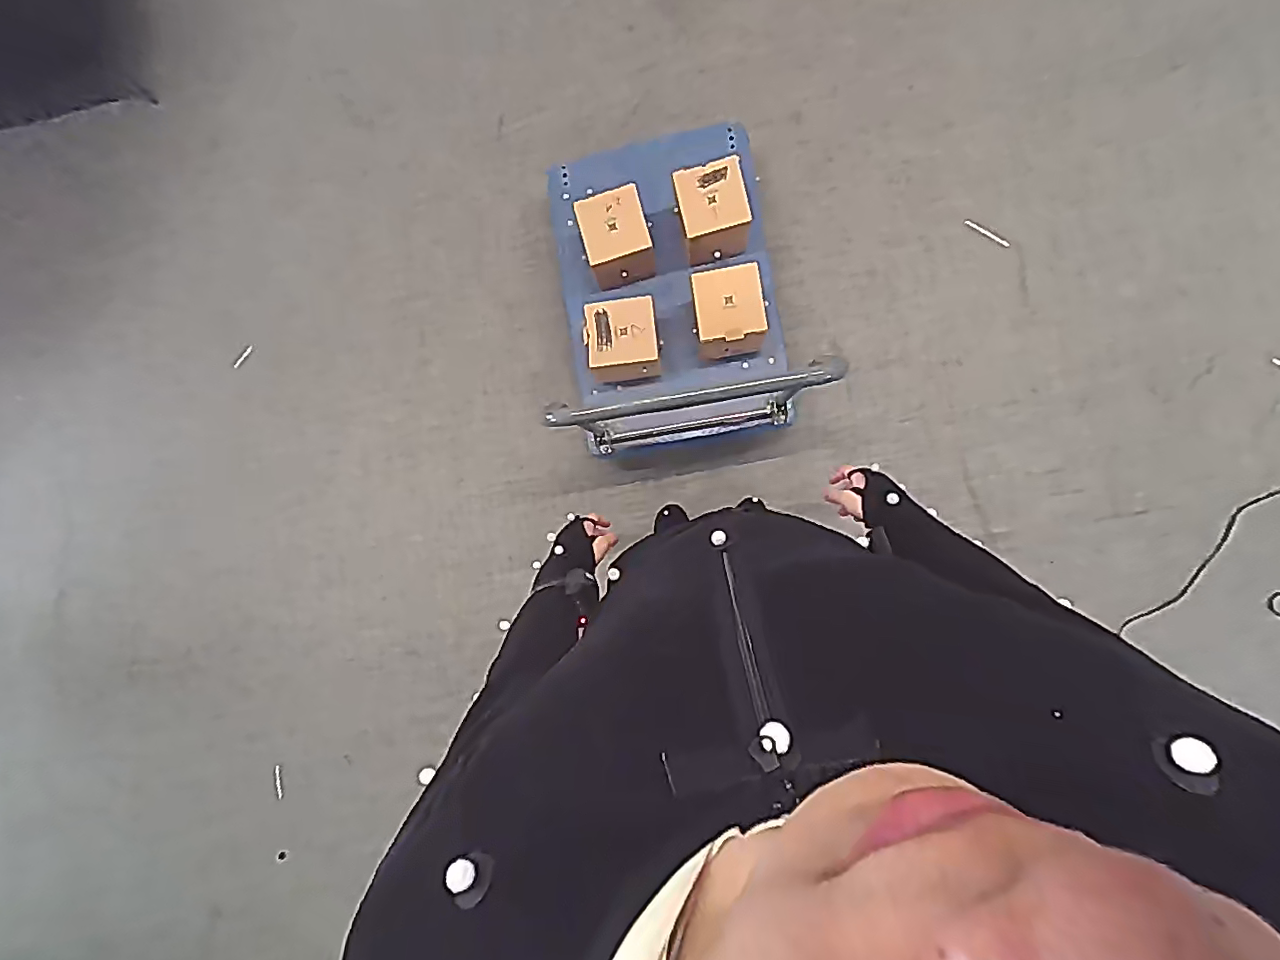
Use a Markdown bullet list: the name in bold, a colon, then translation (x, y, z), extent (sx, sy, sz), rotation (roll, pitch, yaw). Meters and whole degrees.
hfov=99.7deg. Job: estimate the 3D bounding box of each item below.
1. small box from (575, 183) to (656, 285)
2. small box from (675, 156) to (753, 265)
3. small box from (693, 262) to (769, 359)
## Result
- **small box**: translation (-0.059, -0.639, 1.436), extent (0.168, 0.176, 0.179), rotation (-16, 86, 4)
- **small box**: translation (0.189, -0.696, 1.412), extent (0.168, 0.176, 0.179), rotation (-13, 87, 6)
- **small box**: translation (0.229, -0.431, 1.397), extent (0.168, 0.176, 0.179), rotation (-9, 87, 6)
